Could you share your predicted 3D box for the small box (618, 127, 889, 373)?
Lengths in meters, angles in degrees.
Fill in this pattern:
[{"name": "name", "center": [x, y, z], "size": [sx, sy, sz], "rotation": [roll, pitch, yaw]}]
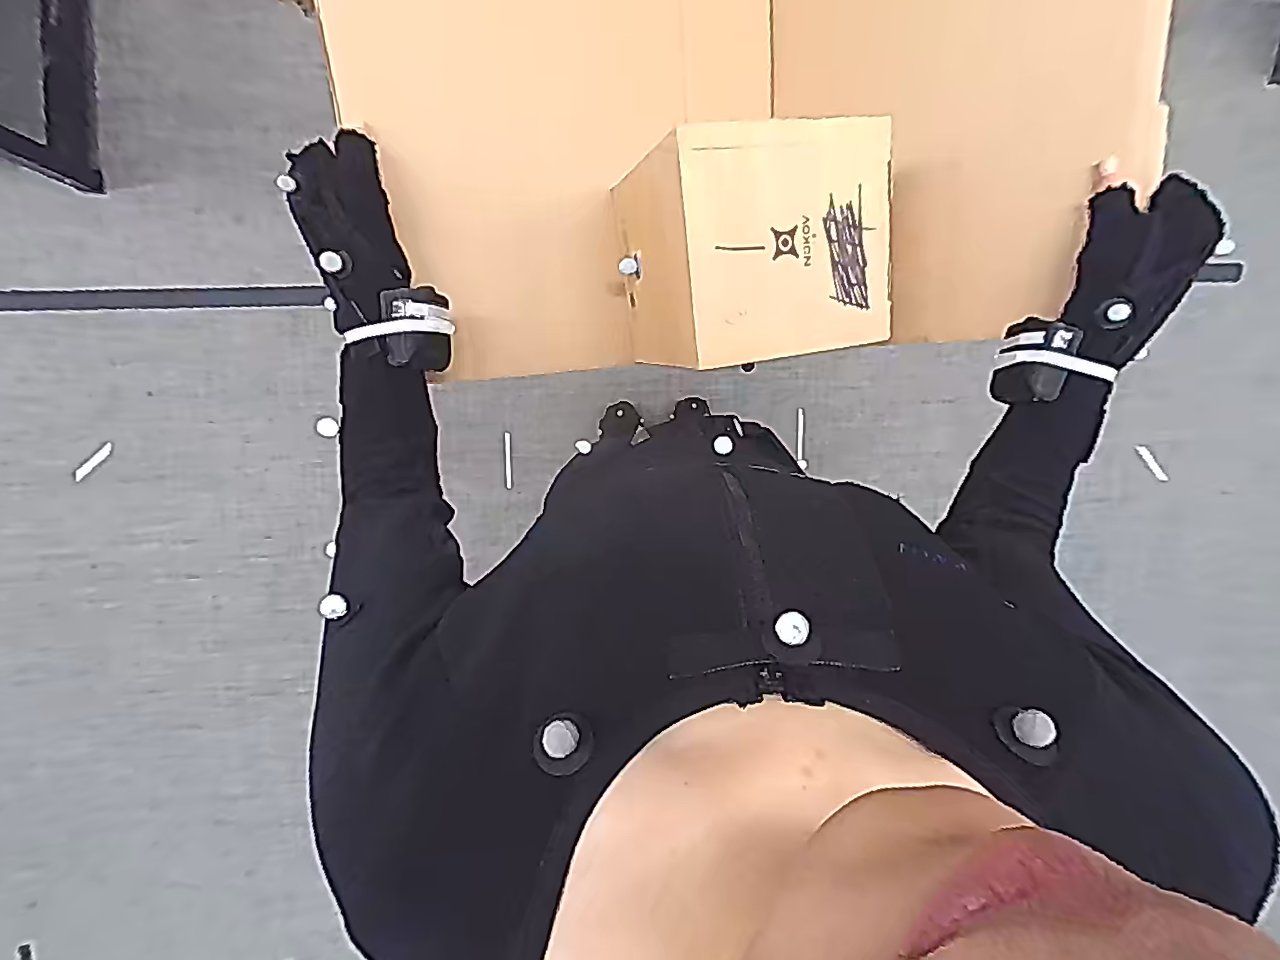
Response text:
[{"name": "small box", "center": [0.092, -0.193, 0.483], "size": [0.179, 0.176, 0.168], "rotation": [-12, 106, -14]}]
